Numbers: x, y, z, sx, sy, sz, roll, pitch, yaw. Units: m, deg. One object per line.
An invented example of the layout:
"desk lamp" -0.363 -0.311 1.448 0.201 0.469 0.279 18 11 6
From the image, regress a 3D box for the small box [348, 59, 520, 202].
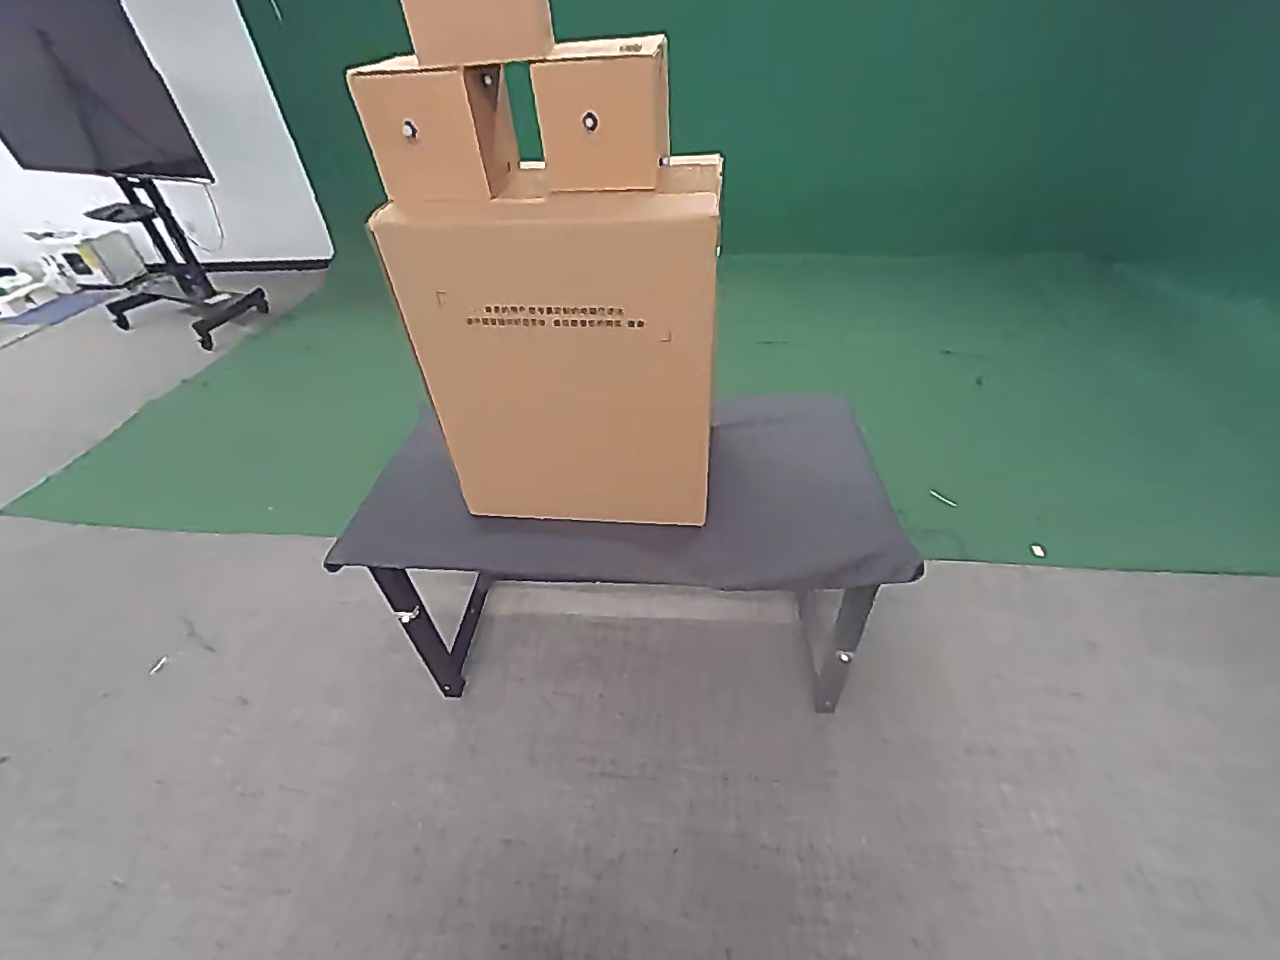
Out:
"small box" -0.310 -0.554 0.856 0.179 0.176 0.168 3 46 8

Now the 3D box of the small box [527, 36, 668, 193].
"small box" -0.052 -0.562 0.837 0.179 0.176 0.168 2 46 9

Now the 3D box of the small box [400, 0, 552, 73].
"small box" -0.222 -0.671 0.734 0.179 0.176 0.168 -5 43 1
